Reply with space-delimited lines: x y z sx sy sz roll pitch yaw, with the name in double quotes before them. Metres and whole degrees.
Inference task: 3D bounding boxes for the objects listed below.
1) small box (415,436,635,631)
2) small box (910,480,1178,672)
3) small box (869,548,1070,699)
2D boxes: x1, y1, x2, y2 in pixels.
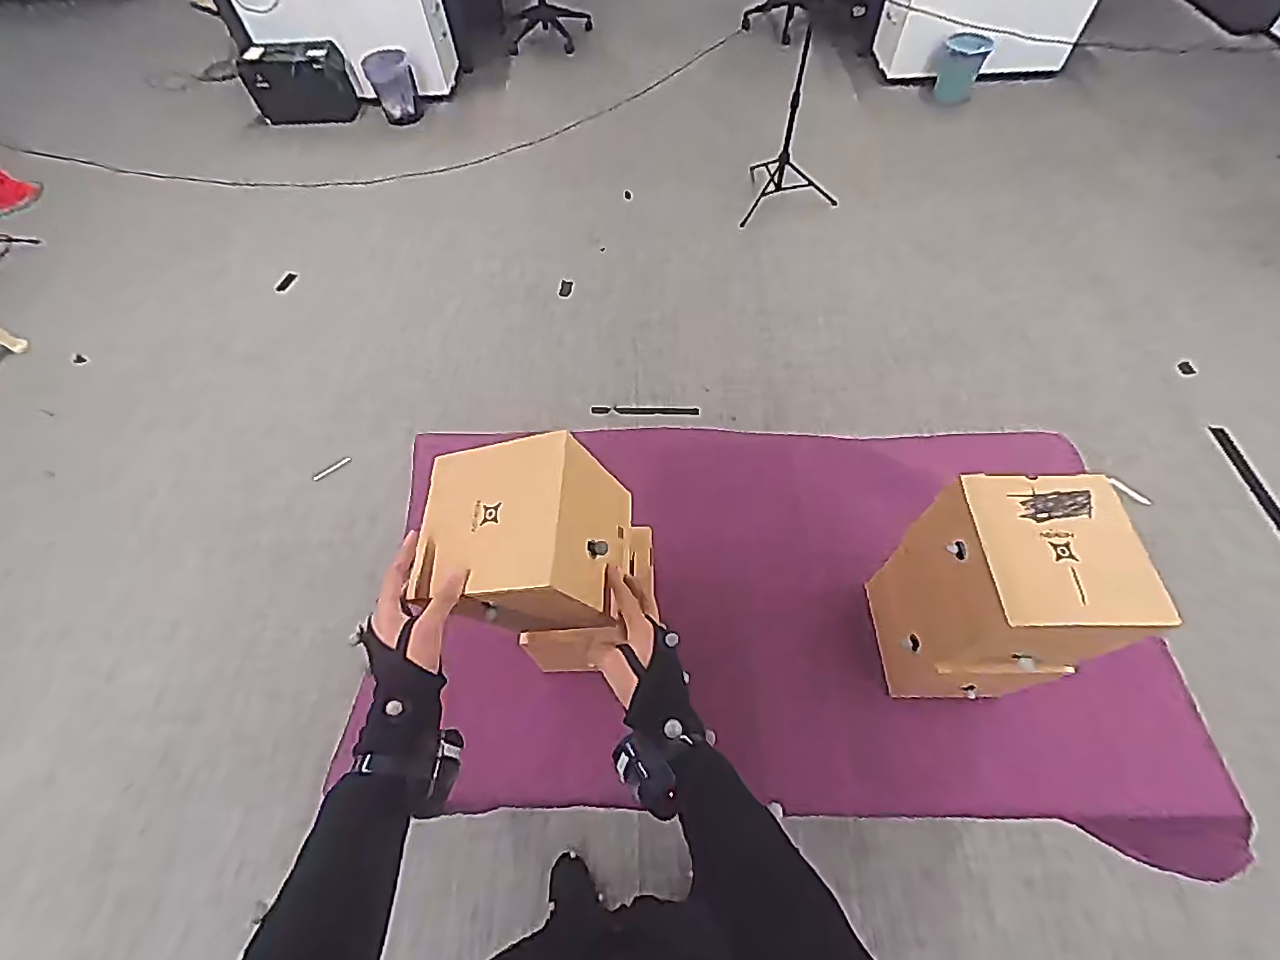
"small box" -0.115 0.072 0.615 0.179 0.176 0.168 -9 61 22
"small box" 0.445 0.116 0.637 0.168 0.176 0.179 0 59 3
"small box" 0.449 0.209 0.773 0.168 0.176 0.179 0 59 2
